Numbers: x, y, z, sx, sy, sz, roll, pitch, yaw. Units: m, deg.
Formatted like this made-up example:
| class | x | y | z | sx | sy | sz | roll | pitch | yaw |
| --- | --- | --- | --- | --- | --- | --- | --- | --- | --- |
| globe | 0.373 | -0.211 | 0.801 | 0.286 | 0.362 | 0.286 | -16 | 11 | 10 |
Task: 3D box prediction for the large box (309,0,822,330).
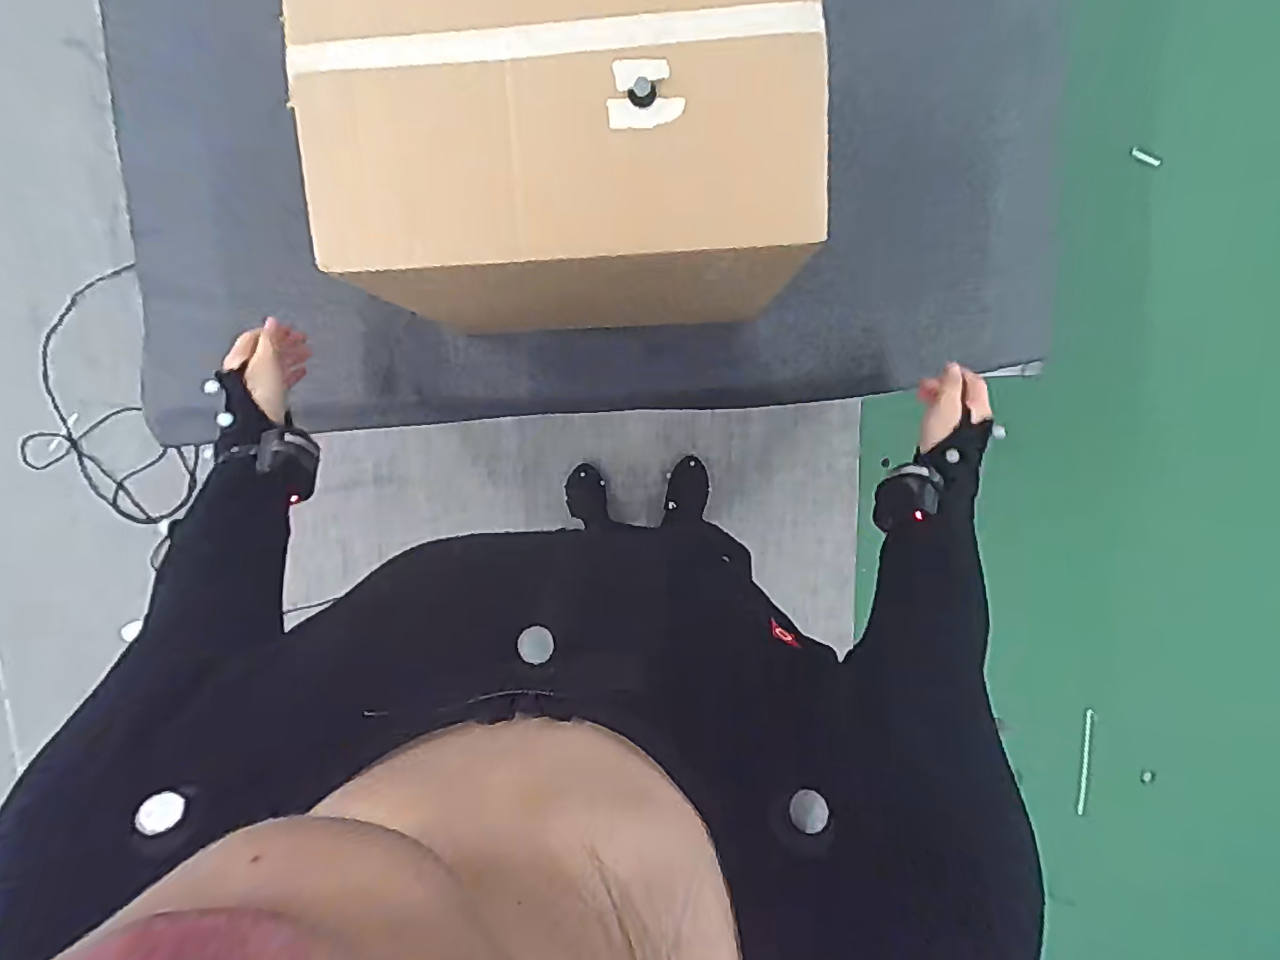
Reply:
| class | x | y | z | sx | sy | sz | roll | pitch | yaw |
| --- | --- | --- | --- | --- | --- | --- | --- | --- | --- |
| large box | -0.059 | -0.353 | 0.572 | 0.408 | 0.320 | 0.320 | -3 | 97 | 2 |
